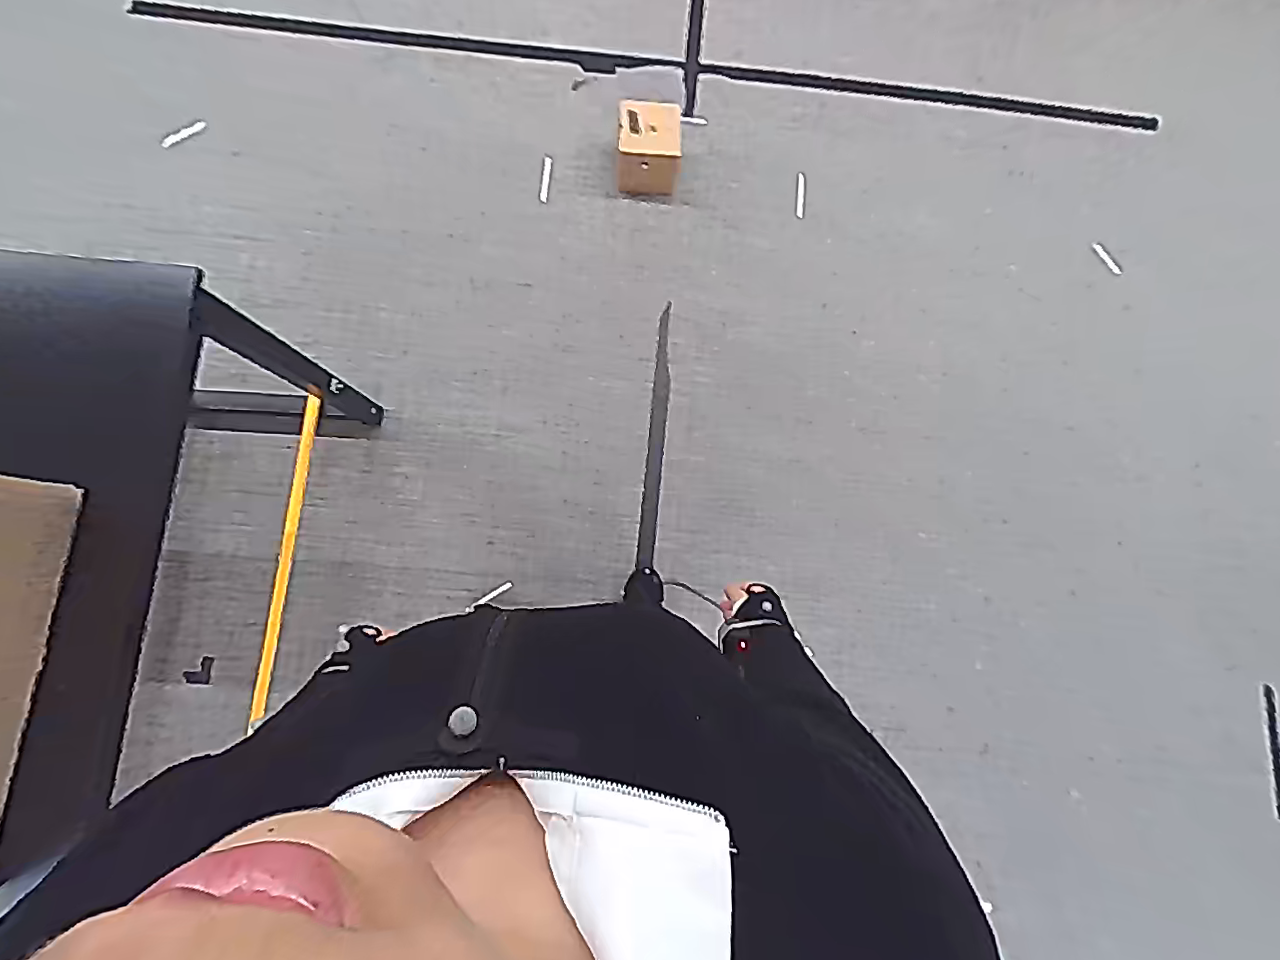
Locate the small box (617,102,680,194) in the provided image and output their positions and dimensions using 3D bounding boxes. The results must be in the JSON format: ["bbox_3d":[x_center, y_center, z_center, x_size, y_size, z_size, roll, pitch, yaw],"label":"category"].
[{"bbox_3d":[0.021,-0.979,1.605,0.179,0.176,0.168,1,81,-4],"label":"small box"}]
